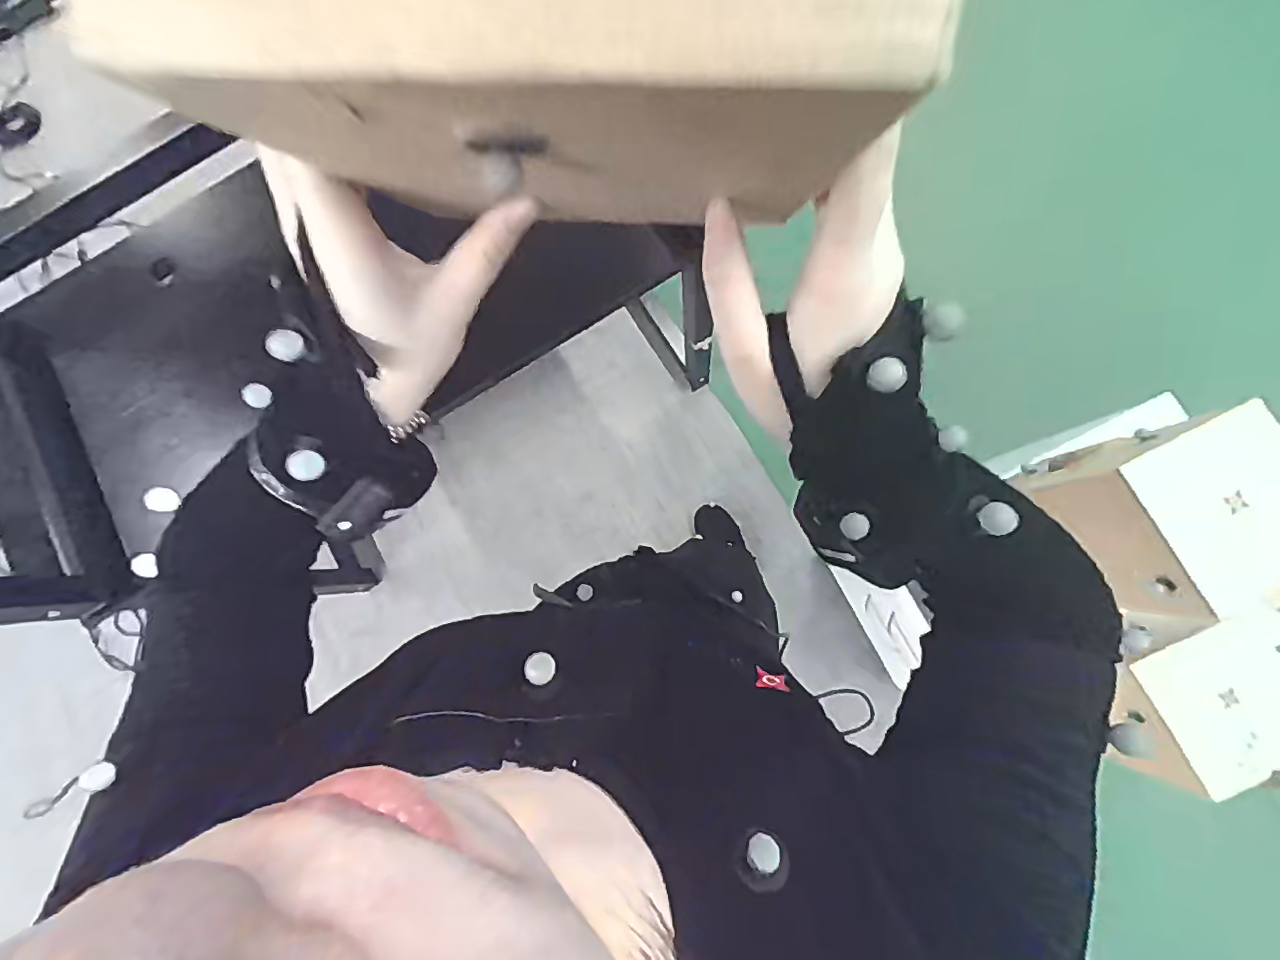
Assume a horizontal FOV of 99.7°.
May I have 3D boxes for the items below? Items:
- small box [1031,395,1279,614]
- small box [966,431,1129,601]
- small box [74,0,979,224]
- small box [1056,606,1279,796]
[{"bbox_3d":[0.608,0.034,0.619,0.168,0.176,0.179,-27,81,0],"label":"small box"},{"bbox_3d":[0.621,0.058,0.780,0.168,0.176,0.179,-29,80,1],"label":"small box"},{"bbox_3d":[-0.017,-0.179,0.159,0.179,0.176,0.168,3,107,2],"label":"small box"},{"bbox_3d":[0.726,0.280,0.733,0.168,0.176,0.179,-25,79,2],"label":"small box"}]
